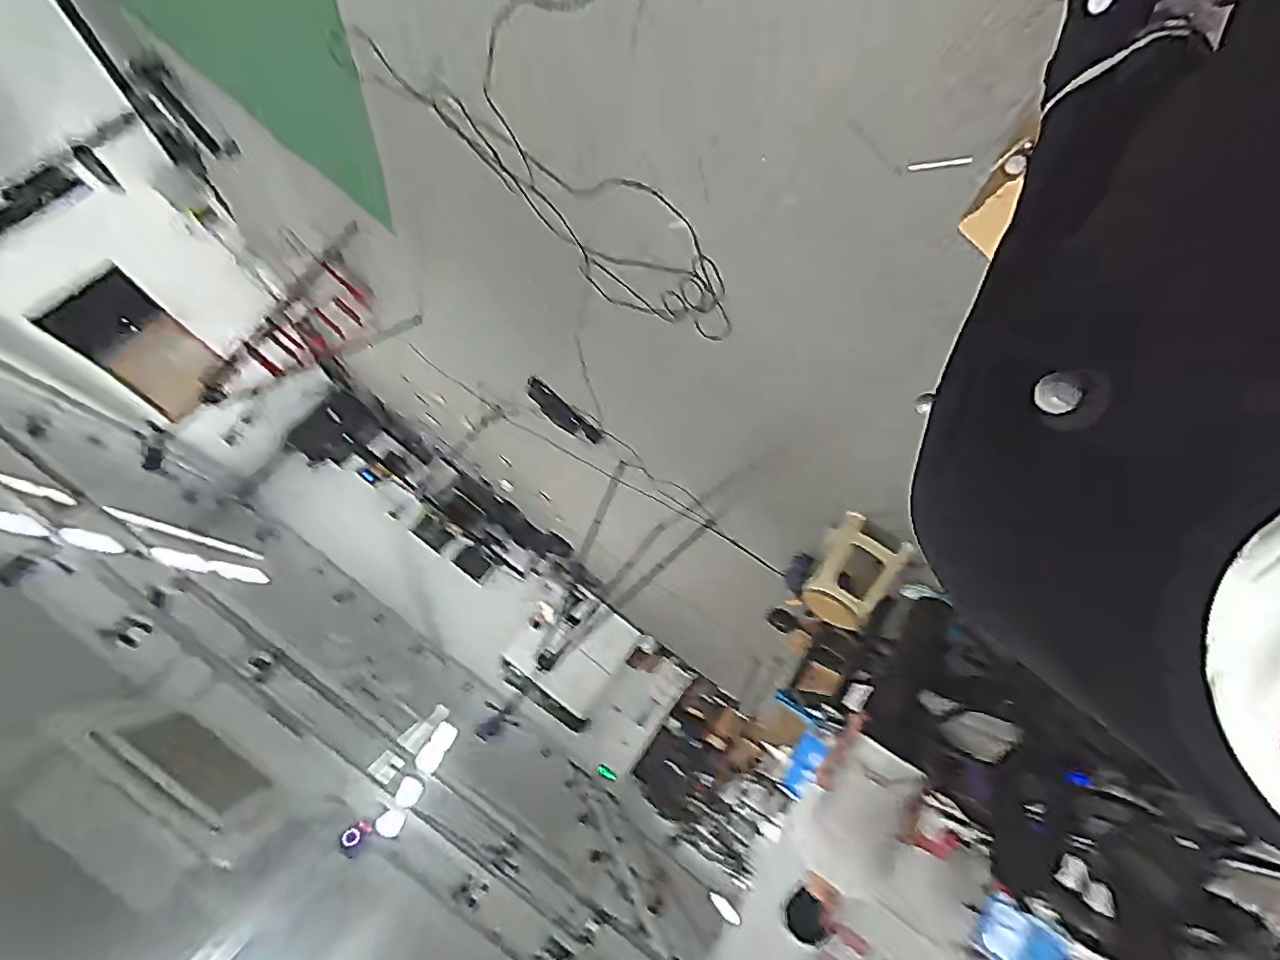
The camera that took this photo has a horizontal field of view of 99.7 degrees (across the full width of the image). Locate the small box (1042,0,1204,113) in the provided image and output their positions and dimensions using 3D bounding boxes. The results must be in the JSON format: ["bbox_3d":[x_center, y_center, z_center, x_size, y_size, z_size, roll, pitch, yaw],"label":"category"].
[{"bbox_3d":[0.854,-0.698,0.972,0.168,0.176,0.179,40,160,-3],"label":"small box"}]

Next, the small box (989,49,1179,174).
[{"bbox_3d":[0.755,-0.576,0.922,0.179,0.176,0.168,41,160,-4],"label":"small box"}]

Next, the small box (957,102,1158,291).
[{"bbox_3d":[0.667,-0.451,0.867,0.179,0.176,0.168,40,160,-3],"label":"small box"}]
